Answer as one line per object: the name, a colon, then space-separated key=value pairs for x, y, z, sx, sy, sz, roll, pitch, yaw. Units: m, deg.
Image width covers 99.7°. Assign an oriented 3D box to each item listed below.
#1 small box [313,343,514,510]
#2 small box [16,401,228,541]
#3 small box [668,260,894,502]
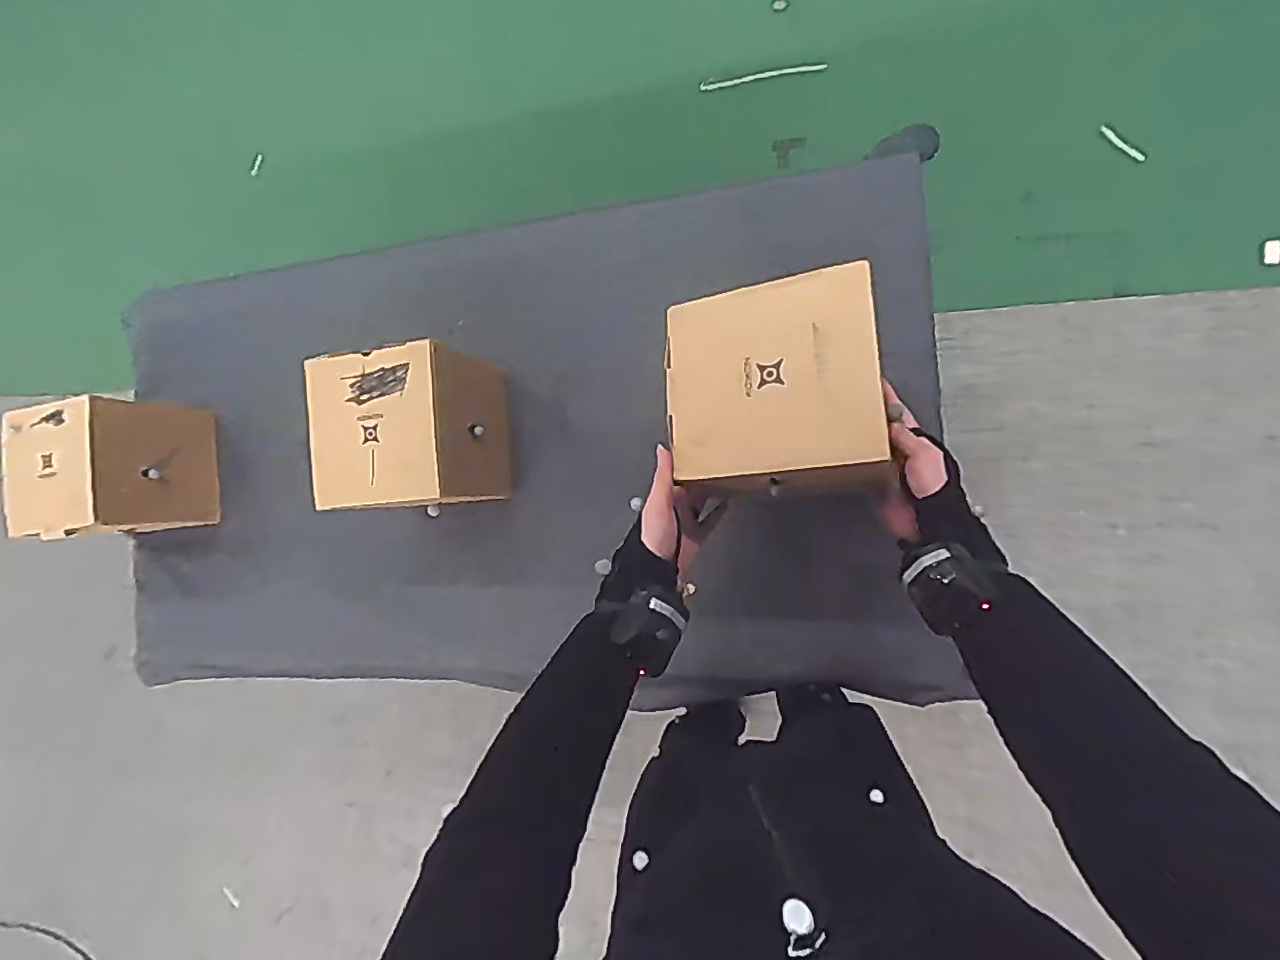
small box: x=-0.273 y=-0.055 z=0.680 sx=0.168 sy=0.176 sz=0.179 roll=-5 pitch=88 yaw=15
small box: x=-0.755 y=-0.010 z=0.804 sx=0.168 sy=0.176 sz=0.179 roll=-7 pitch=87 yaw=14
small box: x=0.140 y=-0.074 z=0.519 sx=0.179 sy=0.176 sz=0.168 roll=-7 pitch=79 yaw=24
